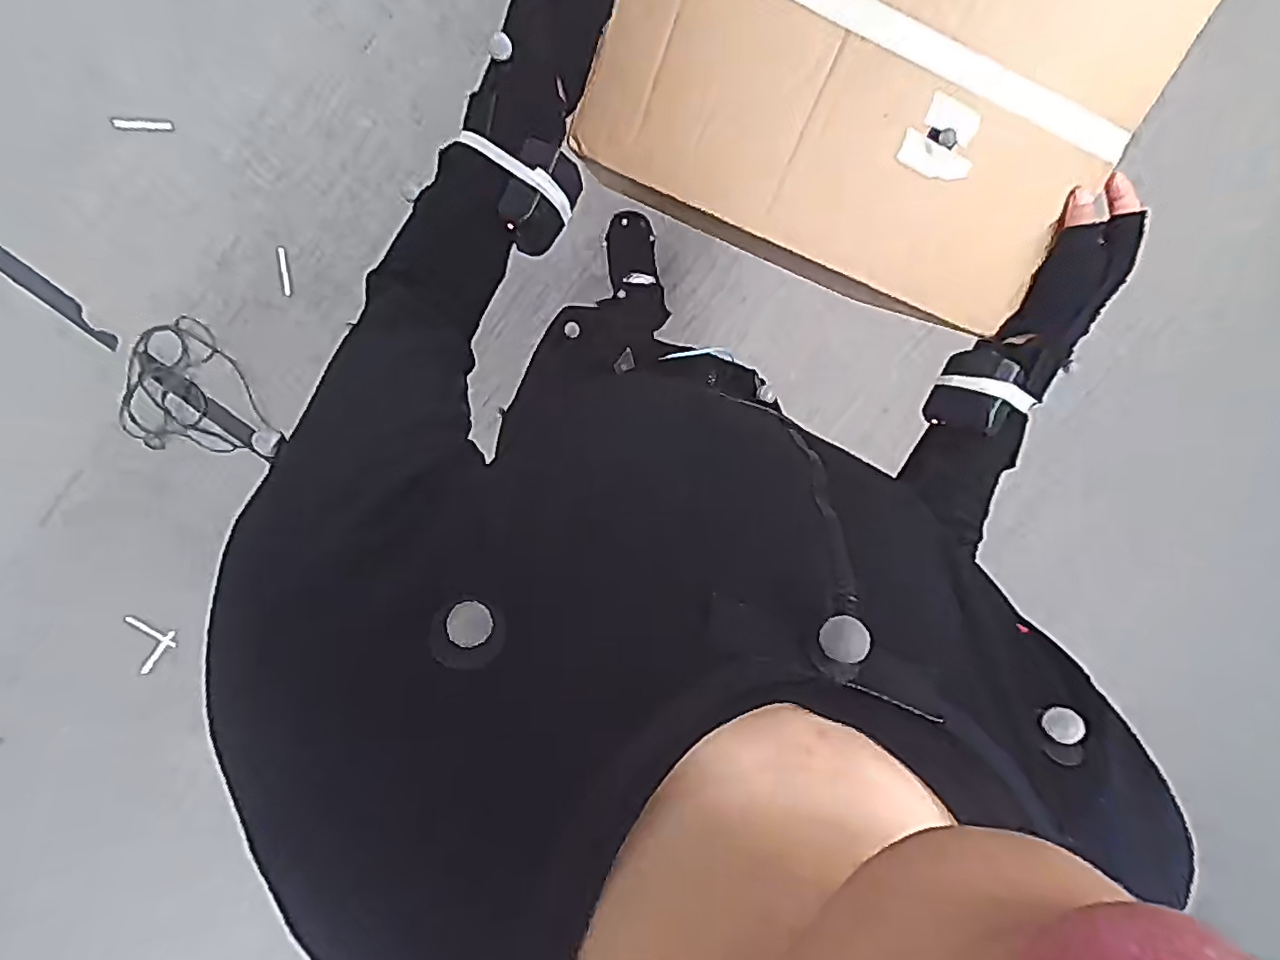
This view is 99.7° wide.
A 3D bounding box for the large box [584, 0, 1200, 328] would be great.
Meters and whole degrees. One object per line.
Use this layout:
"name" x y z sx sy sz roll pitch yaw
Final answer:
"large box" 0.187 -0.391 0.543 0.408 0.320 0.320 20 114 -10
